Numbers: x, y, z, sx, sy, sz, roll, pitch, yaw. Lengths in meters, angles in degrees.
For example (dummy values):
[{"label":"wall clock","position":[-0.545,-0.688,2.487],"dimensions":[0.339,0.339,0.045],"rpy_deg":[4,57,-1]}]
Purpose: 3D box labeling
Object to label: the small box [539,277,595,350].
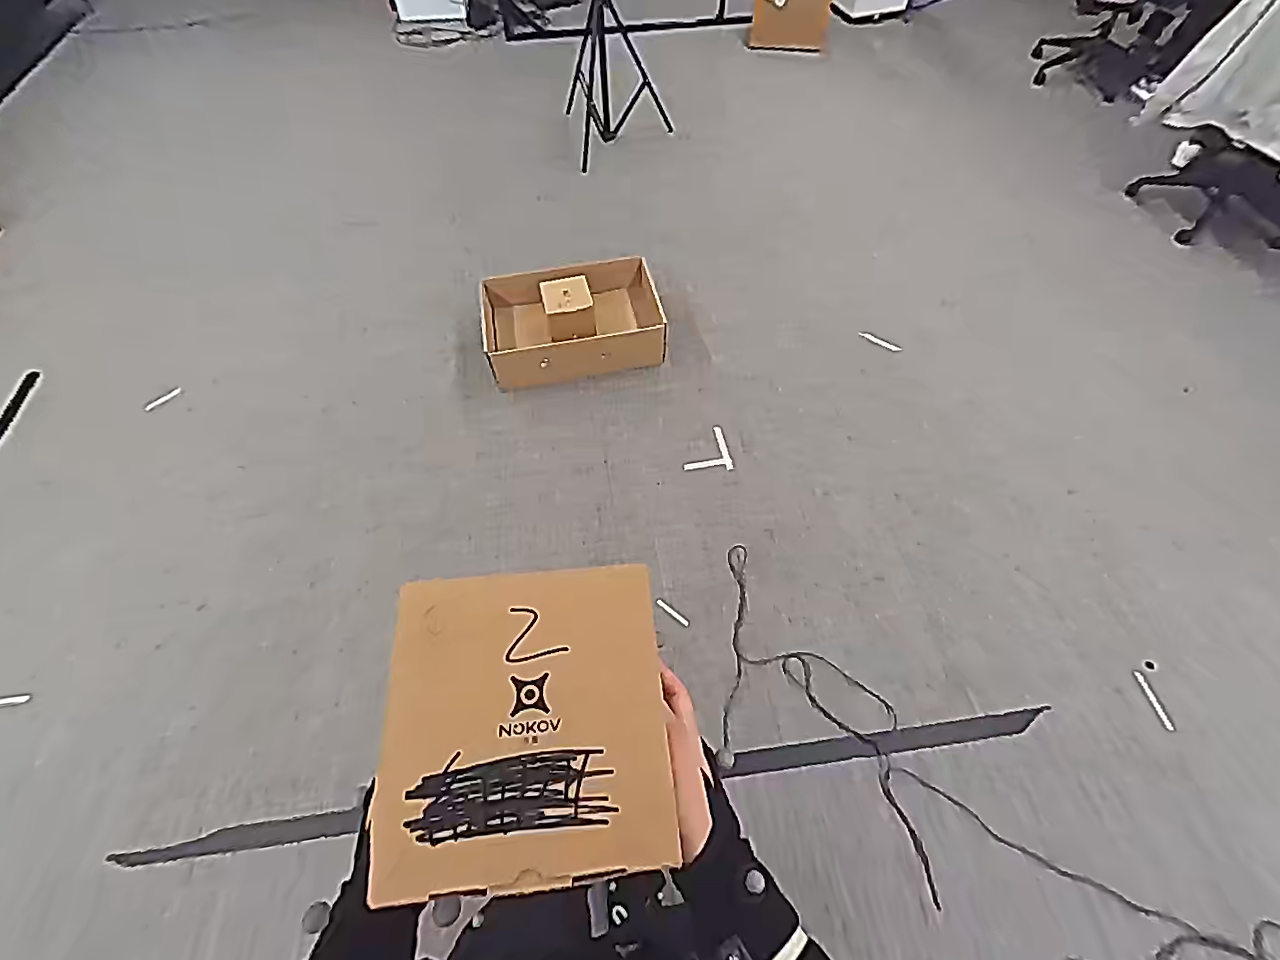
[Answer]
[{"label":"small box","position":[-0.261,-0.598,1.947],"dimensions":[0.168,0.176,0.179],"rpy_deg":[-13,58,-7]}]
